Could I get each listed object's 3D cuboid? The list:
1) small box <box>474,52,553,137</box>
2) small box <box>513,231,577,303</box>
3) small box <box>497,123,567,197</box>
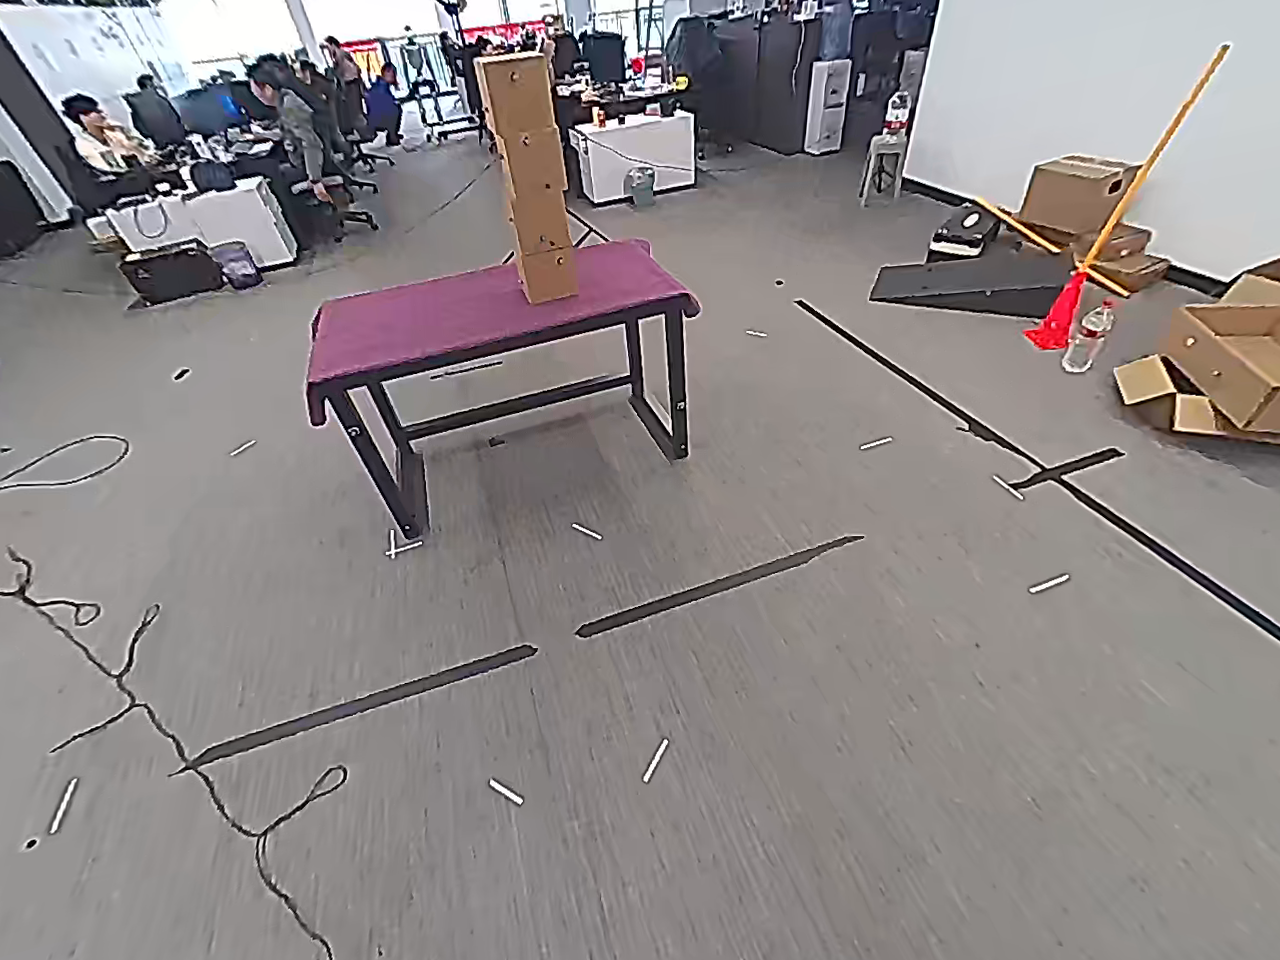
[{"bbox_3d":[-0.356,-1.105,1.547,0.179,0.176,0.168,-18,44,-12],"label":"small box"},{"bbox_3d":[-0.322,-0.733,1.866,0.179,0.176,0.168,-18,43,-11],"label":"small box"},{"bbox_3d":[-0.332,-0.980,1.649,0.168,0.176,0.179,-18,43,-12],"label":"small box"}]
